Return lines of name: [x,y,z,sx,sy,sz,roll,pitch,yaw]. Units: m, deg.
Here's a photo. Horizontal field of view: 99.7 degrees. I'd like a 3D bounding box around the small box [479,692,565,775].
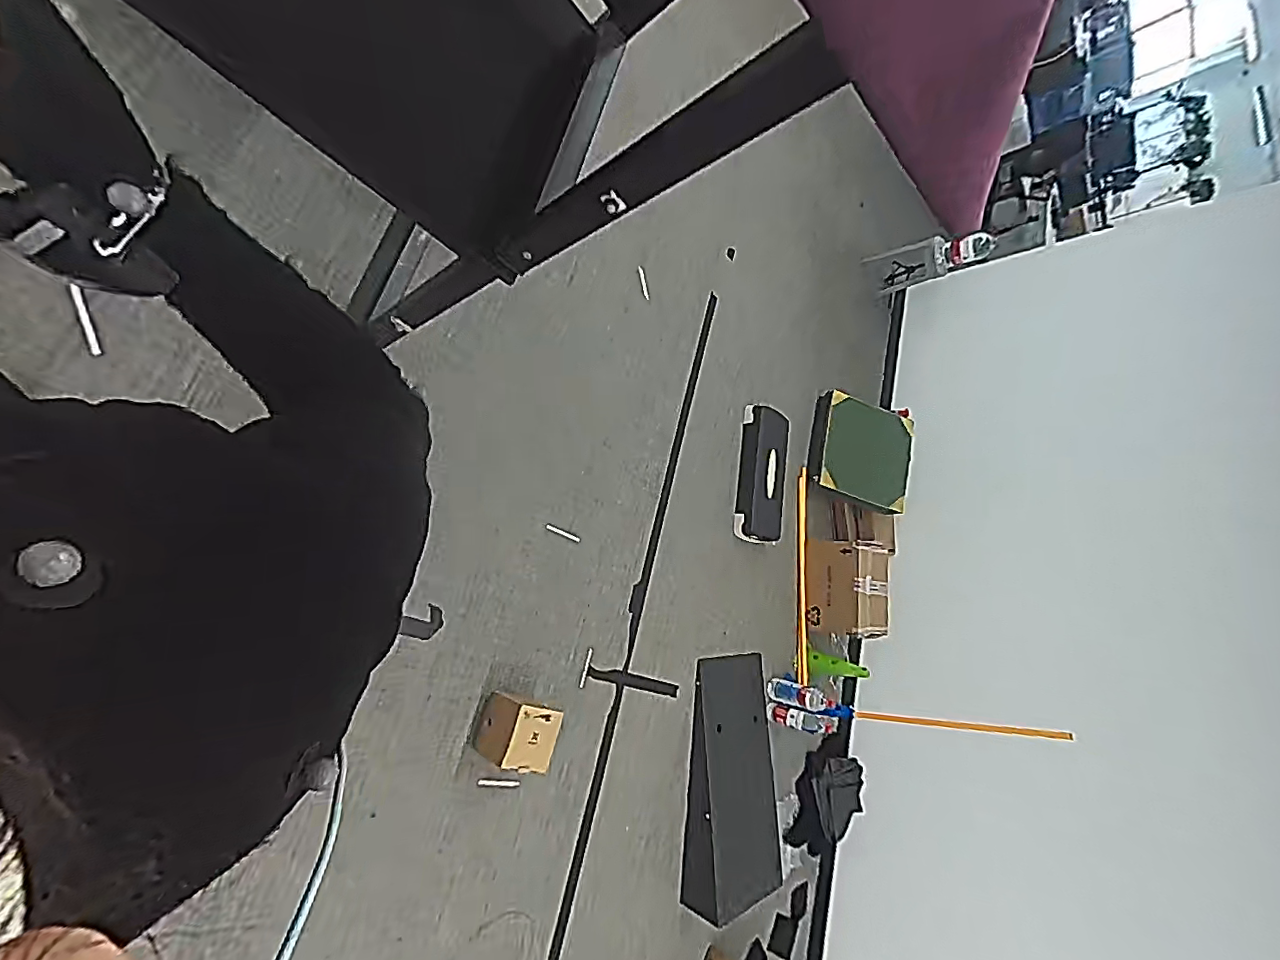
small box: [-0.362,0.764,1.634,0.168,0.176,0.179,33,67,-39]
